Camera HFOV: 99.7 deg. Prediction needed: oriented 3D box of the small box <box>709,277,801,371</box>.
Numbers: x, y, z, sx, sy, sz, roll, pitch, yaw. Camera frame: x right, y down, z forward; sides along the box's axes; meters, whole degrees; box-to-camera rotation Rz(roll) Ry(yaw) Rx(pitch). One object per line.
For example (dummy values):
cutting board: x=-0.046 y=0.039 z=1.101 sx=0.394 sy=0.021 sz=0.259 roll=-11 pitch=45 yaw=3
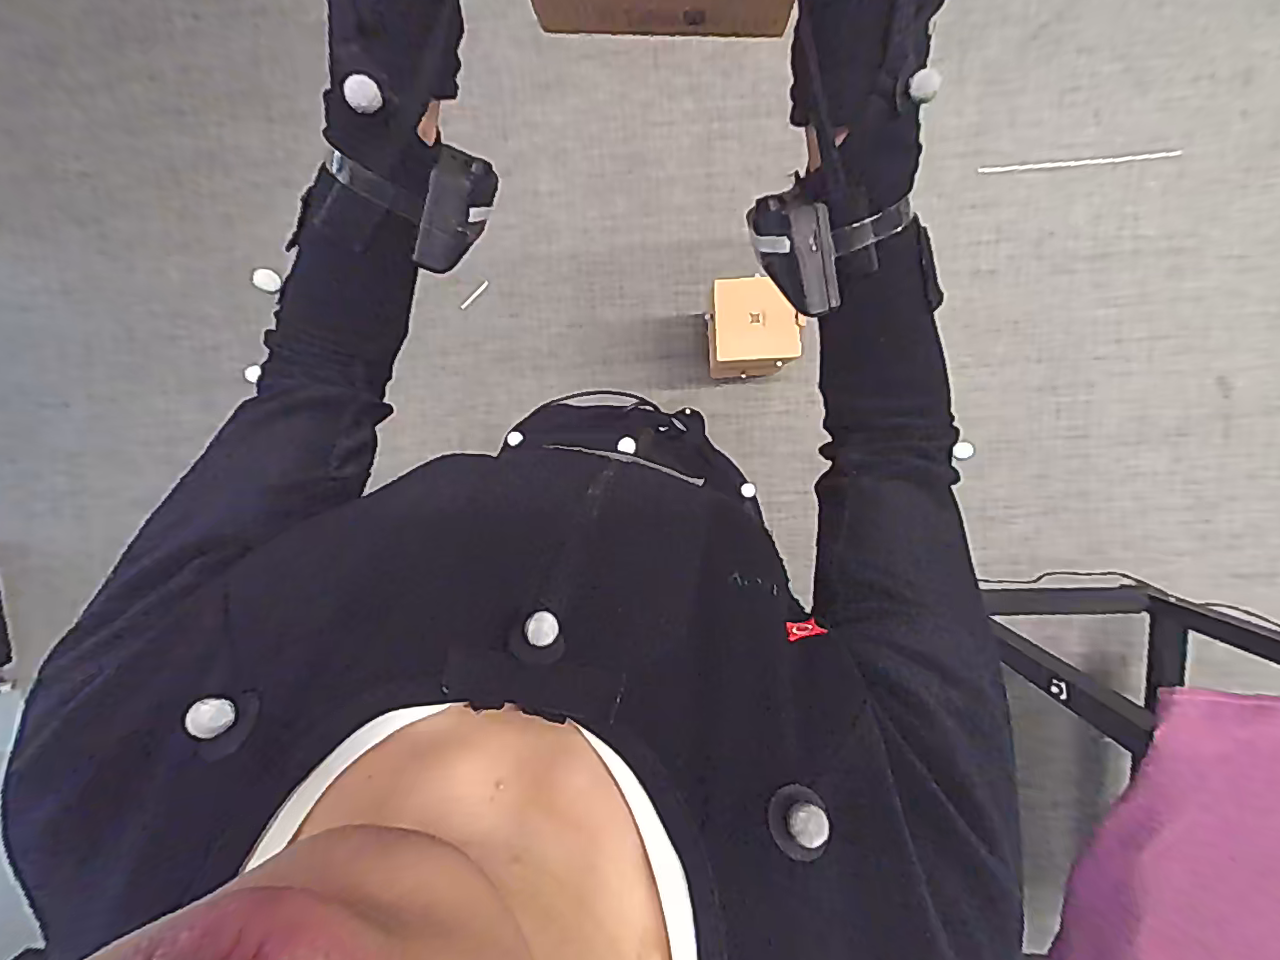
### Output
small box: x=0.243 y=-0.333 z=1.184 sx=0.179 sy=0.176 sz=0.168 roll=-3 pitch=95 yaw=2
